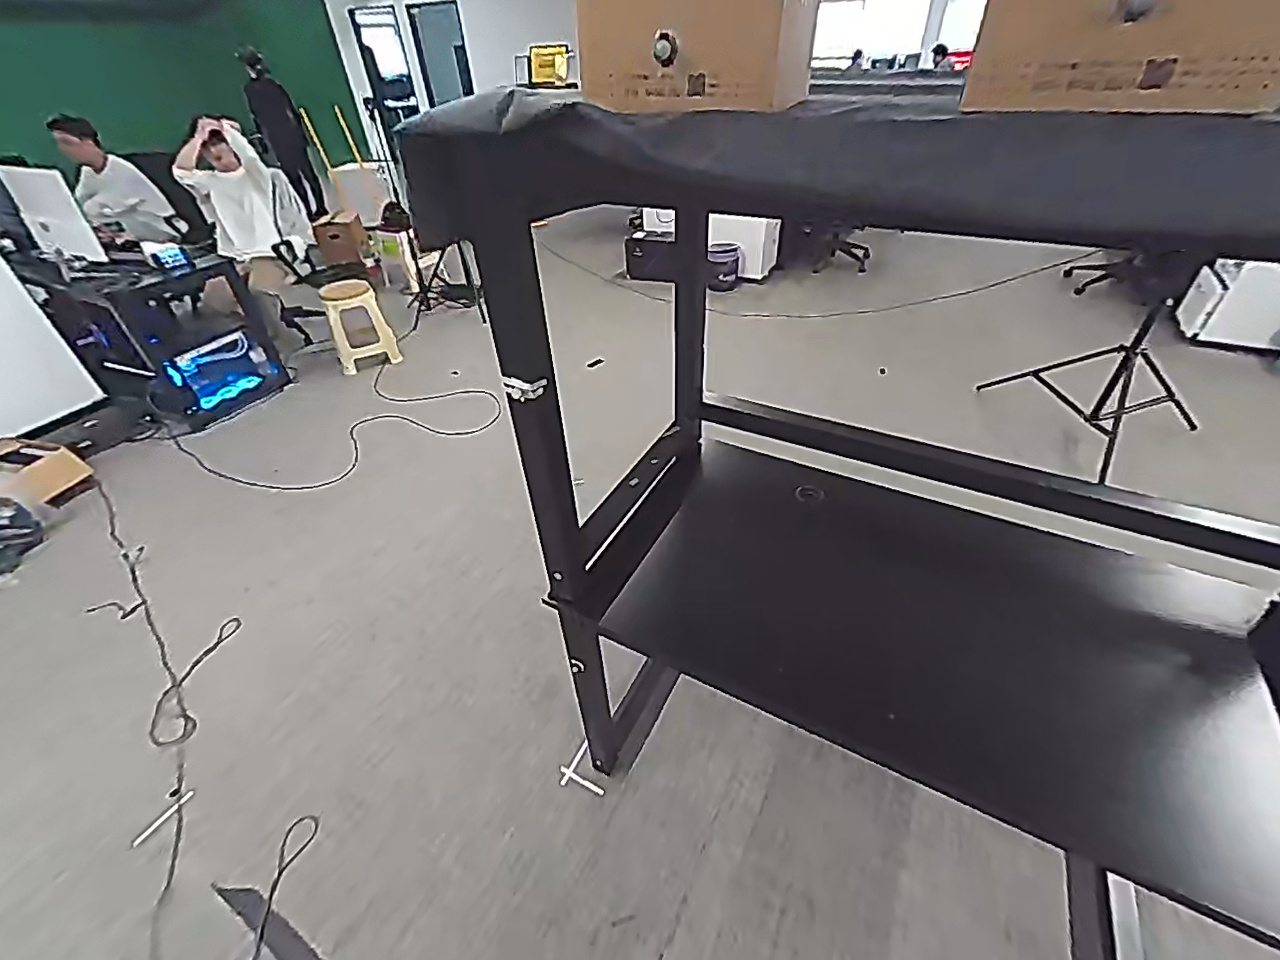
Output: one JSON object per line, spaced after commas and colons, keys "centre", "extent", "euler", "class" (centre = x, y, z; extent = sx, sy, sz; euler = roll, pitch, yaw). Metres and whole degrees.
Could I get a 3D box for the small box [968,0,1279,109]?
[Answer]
{"centre": [0.335, -0.350, 0.351], "extent": [0.168, 0.176, 0.179], "euler": [18, 42, 25], "class": "small box"}
